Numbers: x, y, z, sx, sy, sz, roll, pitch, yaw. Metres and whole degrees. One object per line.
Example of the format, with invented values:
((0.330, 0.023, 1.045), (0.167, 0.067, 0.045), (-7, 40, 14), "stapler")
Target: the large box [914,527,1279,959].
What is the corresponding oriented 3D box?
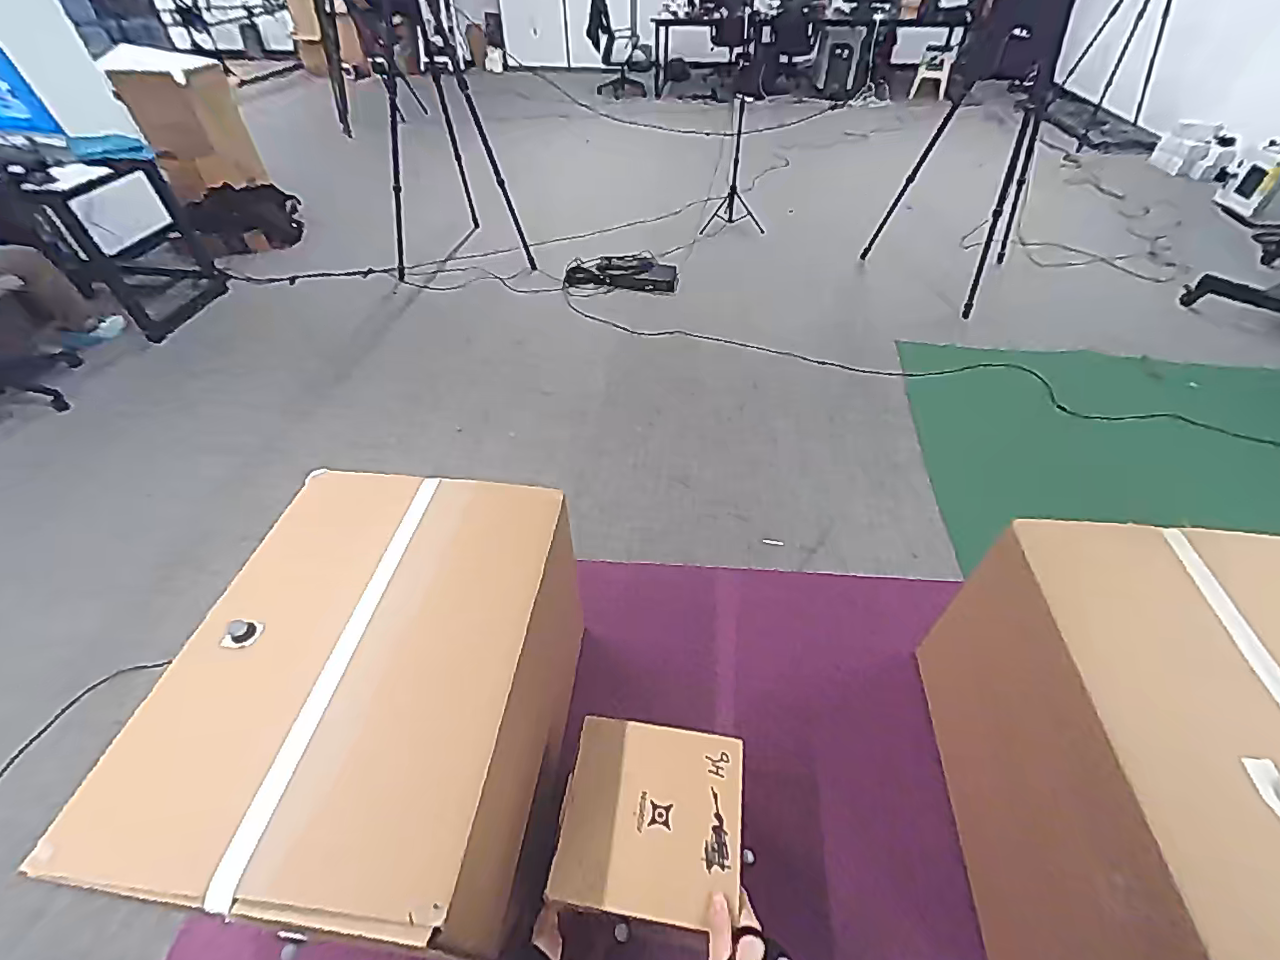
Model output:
((0.538, 0.309, 0.566), (0.320, 0.320, 0.408), (5, 47, 6), "large box")
